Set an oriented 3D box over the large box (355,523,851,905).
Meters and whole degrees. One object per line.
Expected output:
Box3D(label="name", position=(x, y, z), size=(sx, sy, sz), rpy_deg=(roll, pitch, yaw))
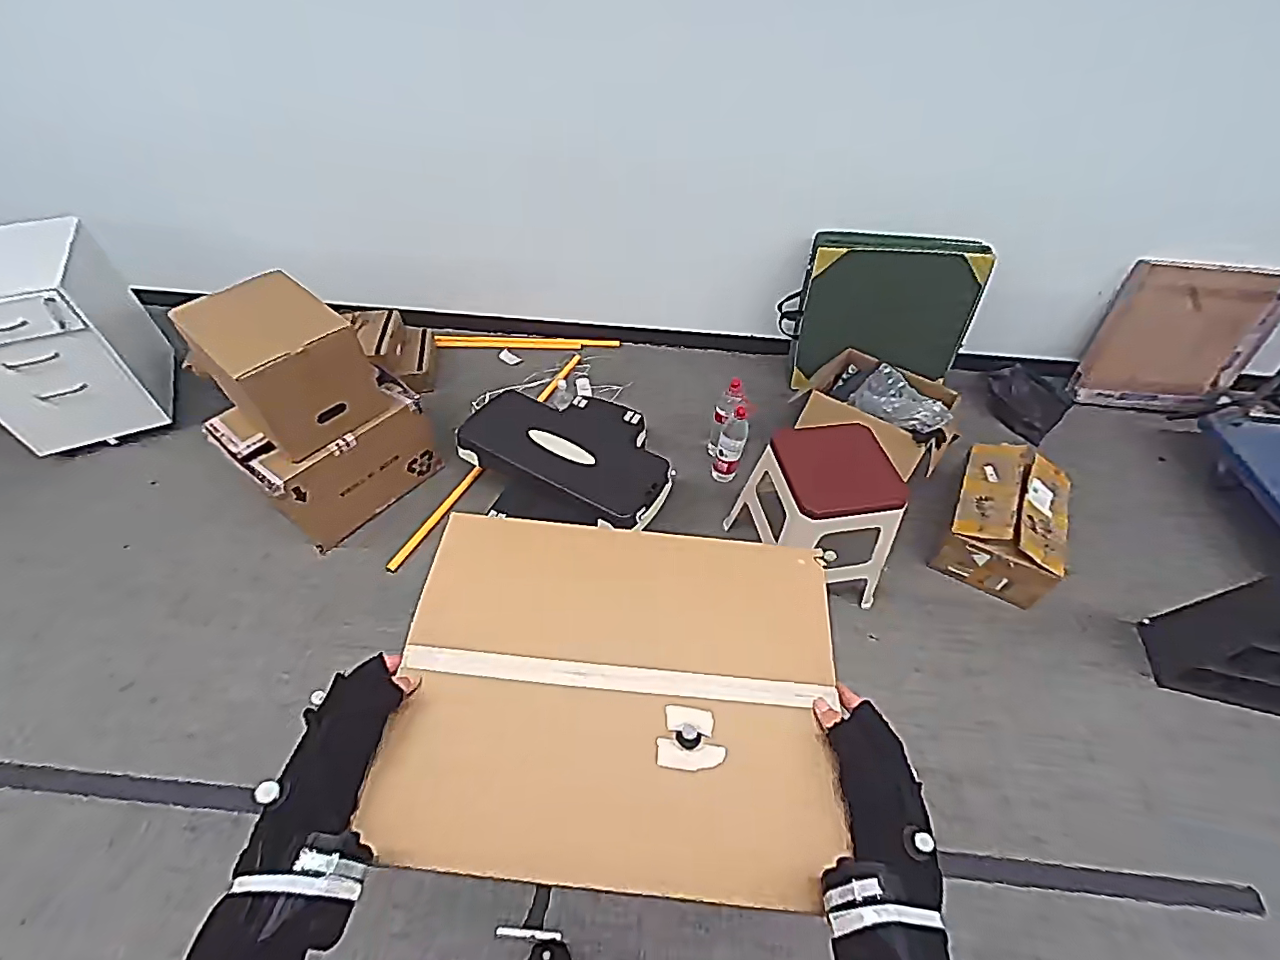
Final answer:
Box3D(label="large box", position=(-0.026, 0.274, 0.630), size=(0.408, 0.320, 0.320), rpy_deg=(6, 56, 1))
